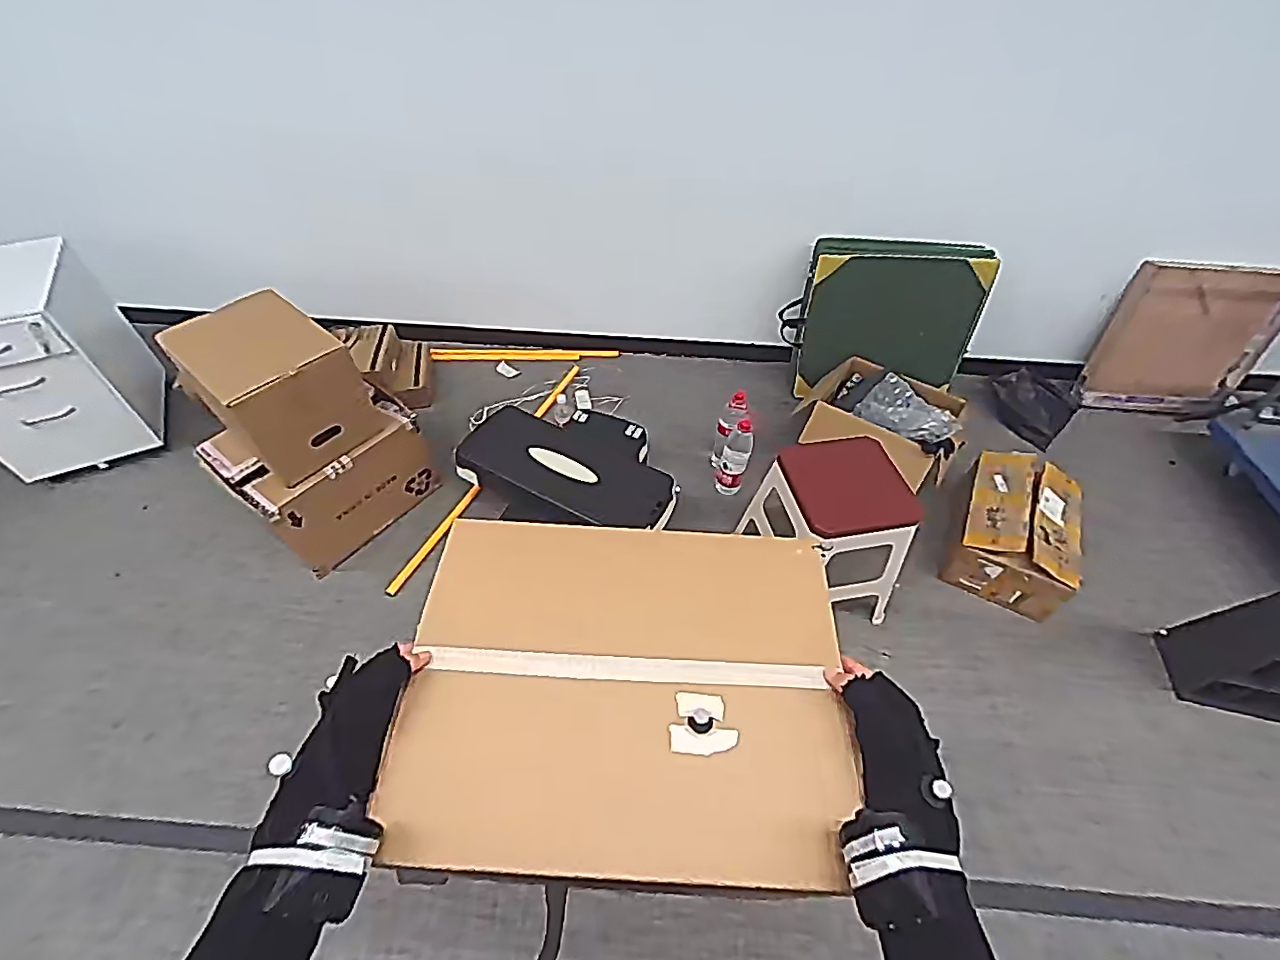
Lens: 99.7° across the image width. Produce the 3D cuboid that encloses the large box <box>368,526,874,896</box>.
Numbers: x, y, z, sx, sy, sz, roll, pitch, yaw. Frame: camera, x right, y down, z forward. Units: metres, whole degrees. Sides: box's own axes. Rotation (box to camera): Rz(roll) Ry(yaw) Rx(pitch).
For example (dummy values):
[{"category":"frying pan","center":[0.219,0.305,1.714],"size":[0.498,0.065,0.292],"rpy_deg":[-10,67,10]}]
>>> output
[{"category":"large box","center":[-0.016,0.274,0.625],"size":[0.408,0.320,0.320],"rpy_deg":[4,52,0]}]
